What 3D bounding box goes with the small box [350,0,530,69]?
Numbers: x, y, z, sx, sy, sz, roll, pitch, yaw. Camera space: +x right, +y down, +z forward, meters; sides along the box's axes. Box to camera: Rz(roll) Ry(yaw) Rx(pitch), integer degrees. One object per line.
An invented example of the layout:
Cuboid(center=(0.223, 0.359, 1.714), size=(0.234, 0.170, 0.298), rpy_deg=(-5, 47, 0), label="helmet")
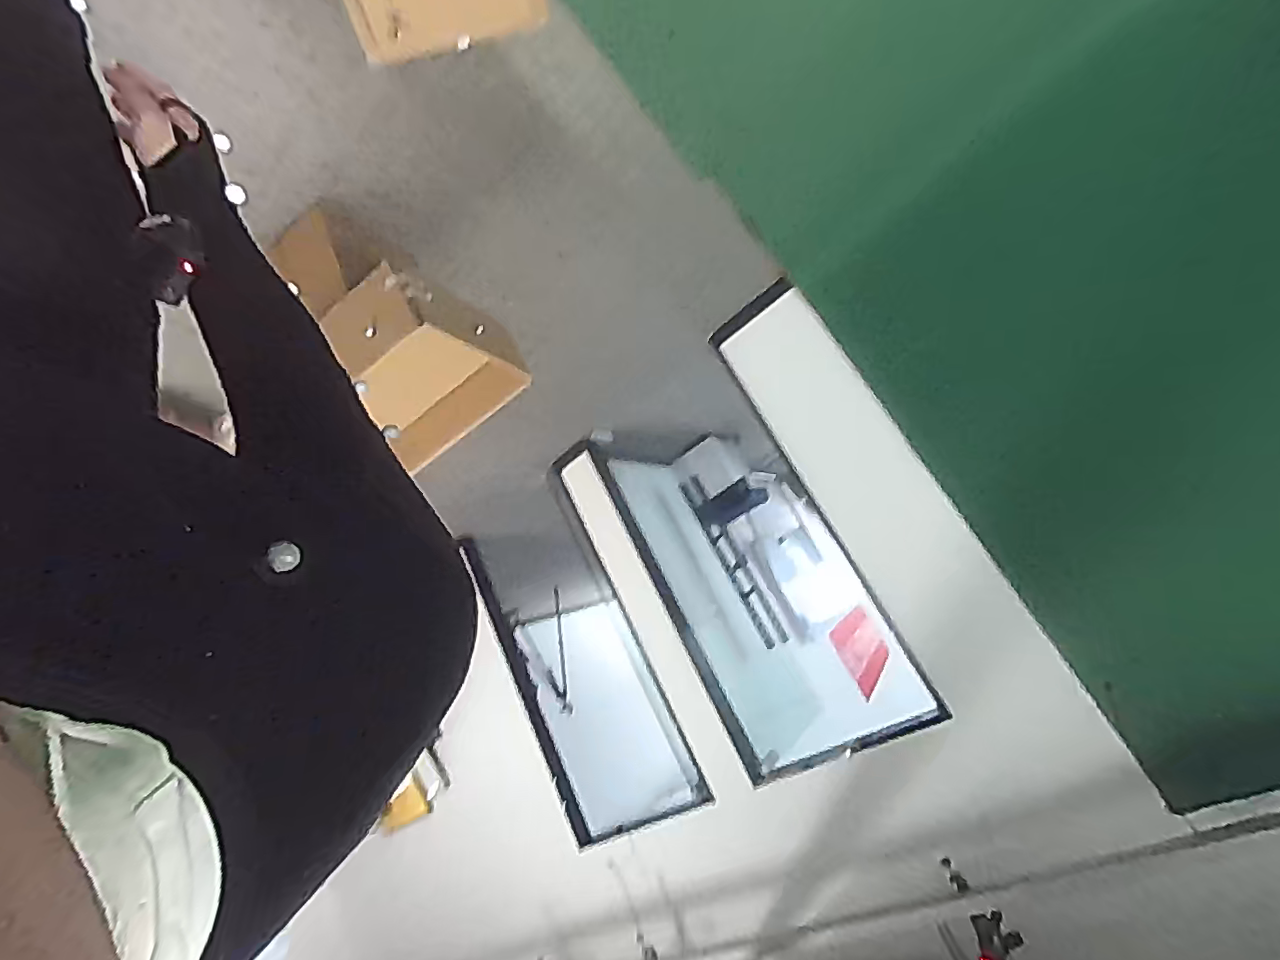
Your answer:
Cuboid(center=(-0.235, -0.577, 0.550), size=(0.179, 0.176, 0.168), rpy_deg=(-24, 163, -9), label="small box")
